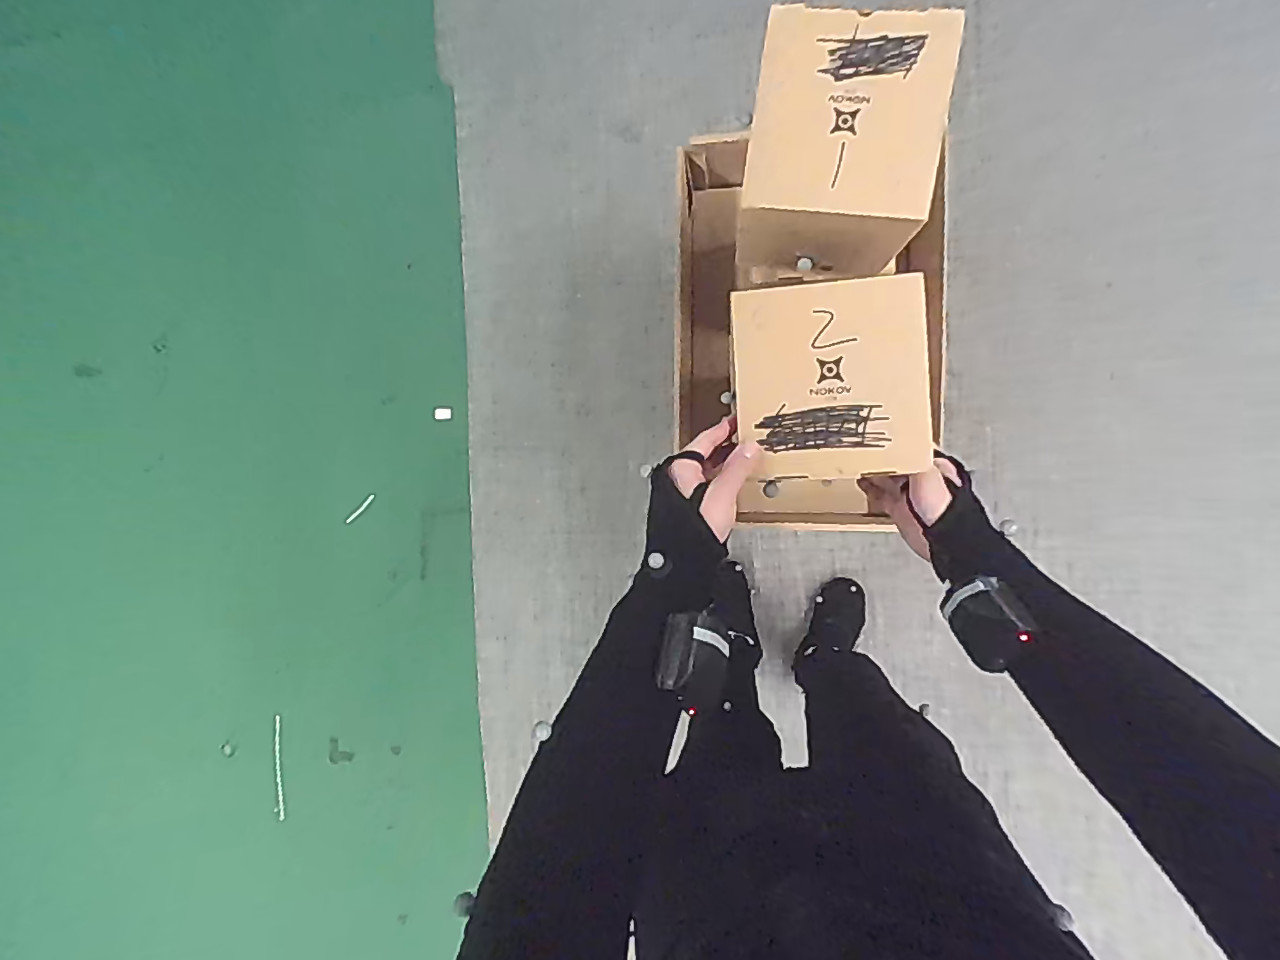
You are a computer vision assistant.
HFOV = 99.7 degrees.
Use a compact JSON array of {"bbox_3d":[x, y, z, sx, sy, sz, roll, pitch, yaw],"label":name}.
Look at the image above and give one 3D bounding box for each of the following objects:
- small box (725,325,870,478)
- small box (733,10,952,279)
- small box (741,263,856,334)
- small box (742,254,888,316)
[{"bbox_3d":[0.201,-0.092,0.722,0.168,0.176,0.179,-2,89,10],"label":"small box"},{"bbox_3d":[0.190,-0.328,0.559,0.168,0.176,0.179,9,95,9],"label":"small box"},{"bbox_3d":[0.249,-0.338,0.880,0.168,0.176,0.179,0,92,10],"label":"small box"},{"bbox_3d":[0.222,-0.330,0.721,0.168,0.176,0.179,-1,93,9],"label":"small box"}]
